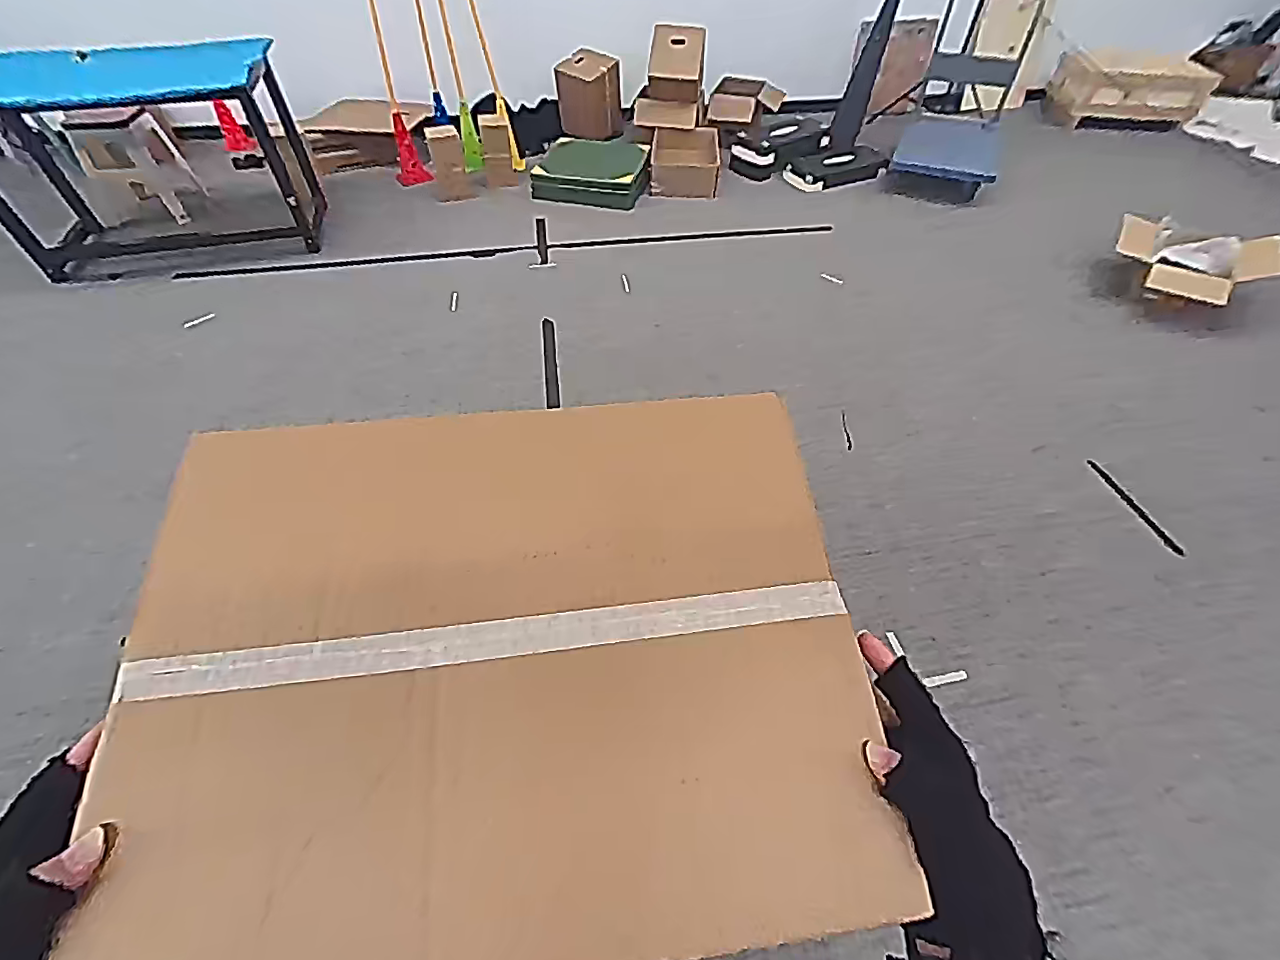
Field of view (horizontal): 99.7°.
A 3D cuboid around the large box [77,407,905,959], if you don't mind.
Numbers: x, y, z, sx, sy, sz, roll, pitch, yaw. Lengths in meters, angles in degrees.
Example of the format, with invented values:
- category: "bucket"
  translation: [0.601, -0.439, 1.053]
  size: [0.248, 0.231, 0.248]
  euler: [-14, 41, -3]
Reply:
- category: "large box"
  translation: [-0.084, 0.166, 0.451]
  size: [0.408, 0.320, 0.320]
  euler: [-5, 63, -6]
